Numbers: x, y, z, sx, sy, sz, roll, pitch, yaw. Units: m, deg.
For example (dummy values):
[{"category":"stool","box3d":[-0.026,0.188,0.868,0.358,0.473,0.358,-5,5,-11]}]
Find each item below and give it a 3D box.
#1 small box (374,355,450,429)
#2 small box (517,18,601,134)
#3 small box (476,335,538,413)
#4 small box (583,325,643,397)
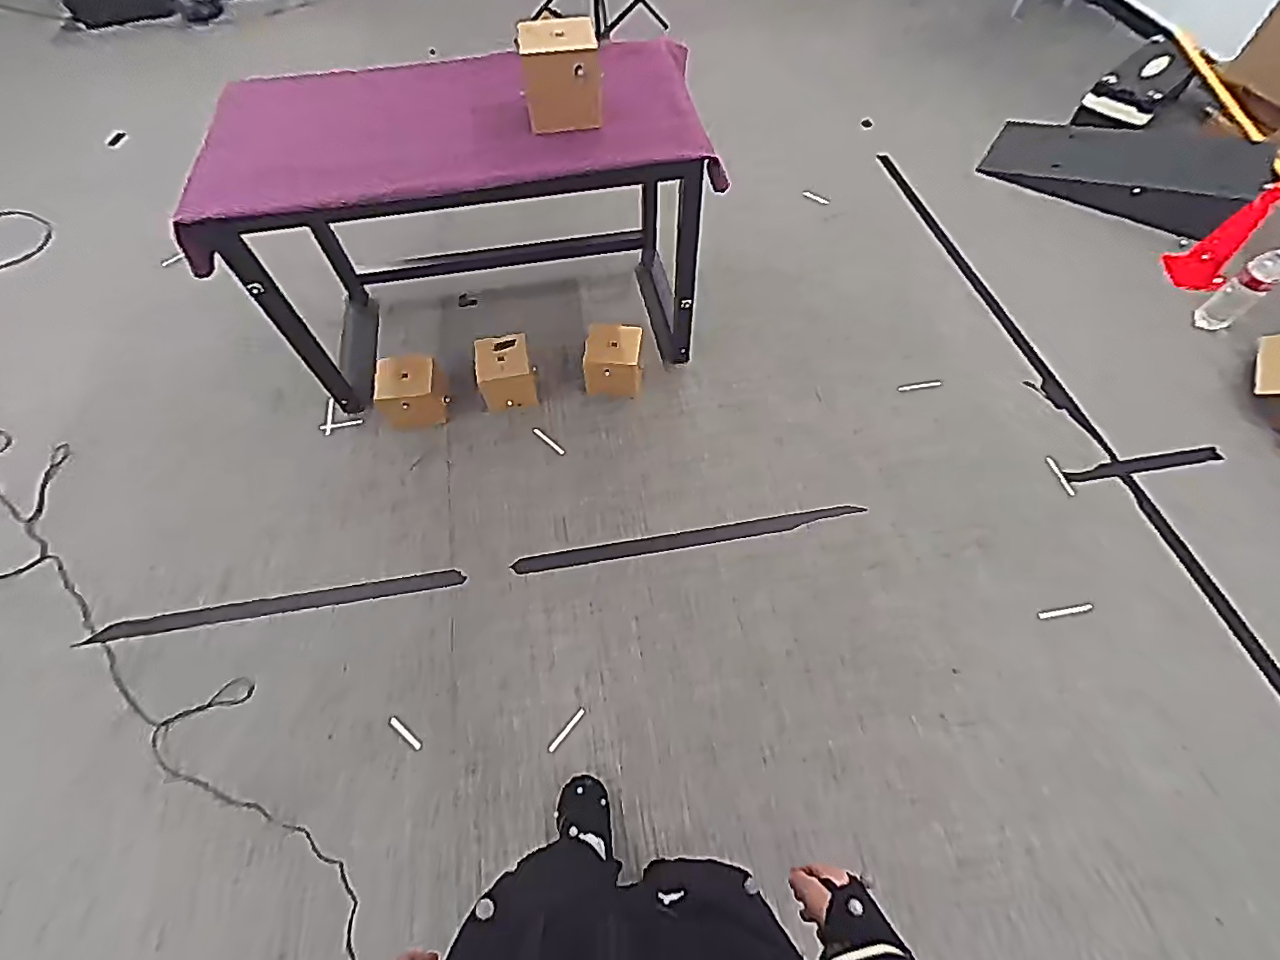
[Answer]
[{"category":"small box","box3d":[-0.734,-0.281,1.756,0.179,0.176,0.168,-8,62,-5]},{"category":"small box","box3d":[-0.189,-0.963,1.294,0.179,0.176,0.168,-9,59,-3]},{"category":"small box","box3d":[-0.438,-0.347,1.786,0.168,0.176,0.179,-11,61,-5]},{"category":"small box","box3d":[-0.084,-0.393,1.807,0.179,0.176,0.168,4,61,5]}]
